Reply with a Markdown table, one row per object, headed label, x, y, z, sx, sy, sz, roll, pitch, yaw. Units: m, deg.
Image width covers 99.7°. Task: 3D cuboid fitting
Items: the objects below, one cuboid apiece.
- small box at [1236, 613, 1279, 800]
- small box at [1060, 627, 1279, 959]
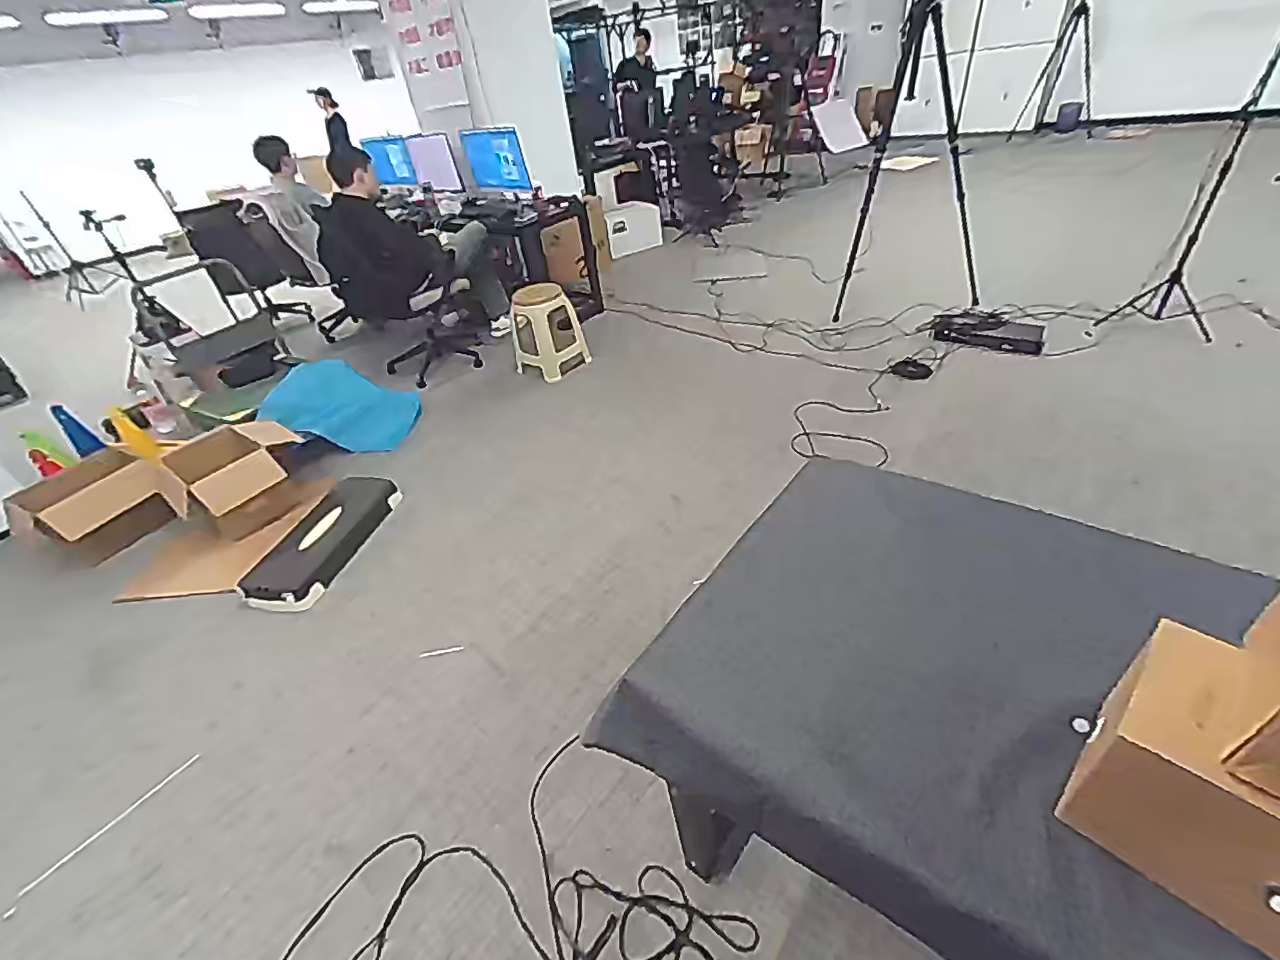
| label | x | y | z | sx | sy | sz | roll | pitch | yaw |
| --- | --- | --- | --- | --- | --- | --- | --- | --- | --- |
| small box | 0.566 | 0.153 | 0.368 | 0.179 | 0.176 | 0.168 | -34 | 43 | -32 |
| small box | 0.528 | 0.277 | 0.485 | 0.168 | 0.176 | 0.179 | -33 | 42 | -30 |
